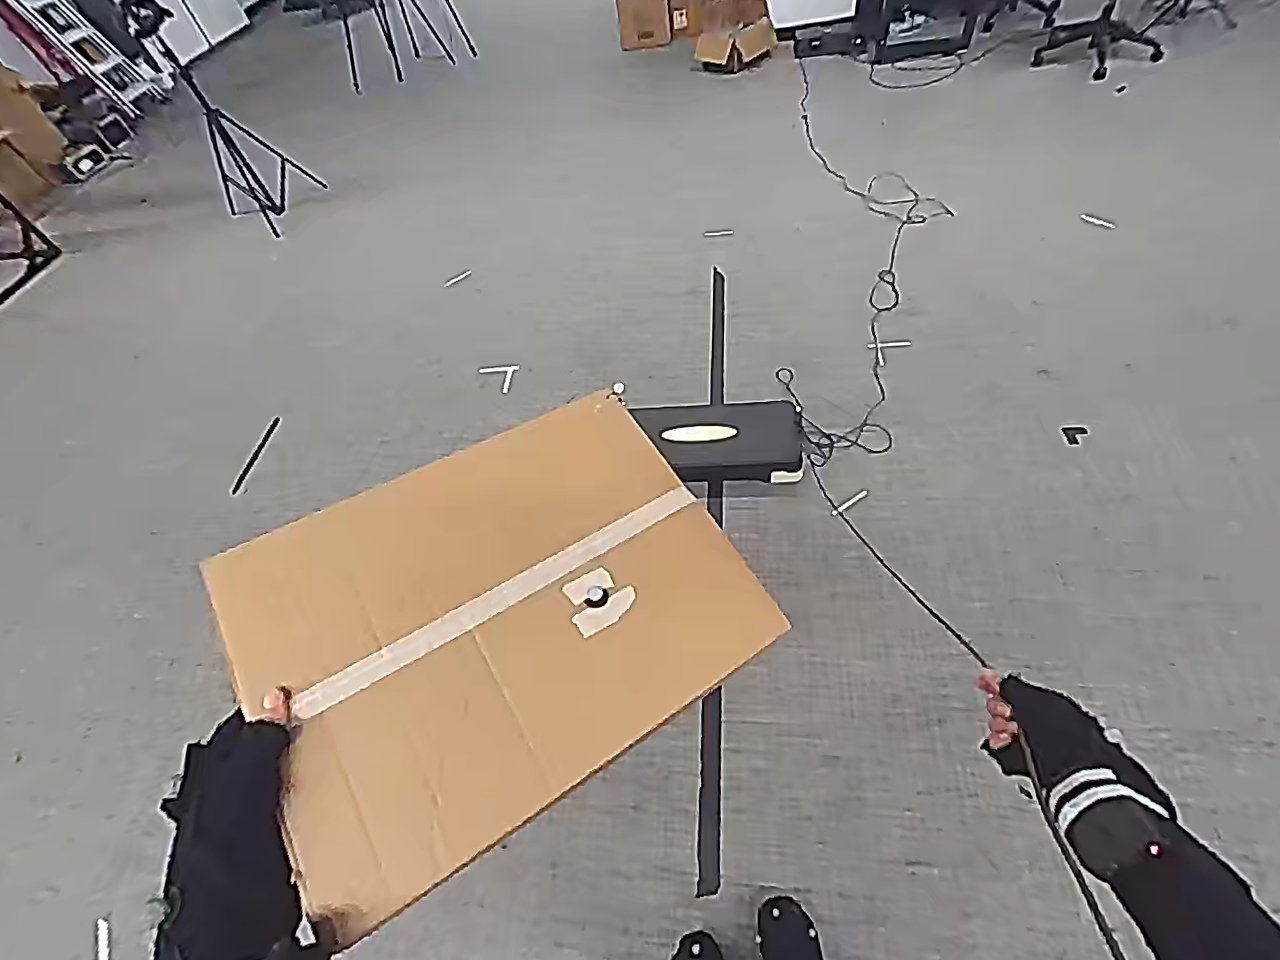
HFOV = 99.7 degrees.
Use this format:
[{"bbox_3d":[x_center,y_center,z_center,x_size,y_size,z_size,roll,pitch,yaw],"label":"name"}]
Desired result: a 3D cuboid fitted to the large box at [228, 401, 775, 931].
[{"bbox_3d":[-0.133,0.183,0.612,0.408,0.320,0.320,-27,67,-21],"label":"large box"}]
